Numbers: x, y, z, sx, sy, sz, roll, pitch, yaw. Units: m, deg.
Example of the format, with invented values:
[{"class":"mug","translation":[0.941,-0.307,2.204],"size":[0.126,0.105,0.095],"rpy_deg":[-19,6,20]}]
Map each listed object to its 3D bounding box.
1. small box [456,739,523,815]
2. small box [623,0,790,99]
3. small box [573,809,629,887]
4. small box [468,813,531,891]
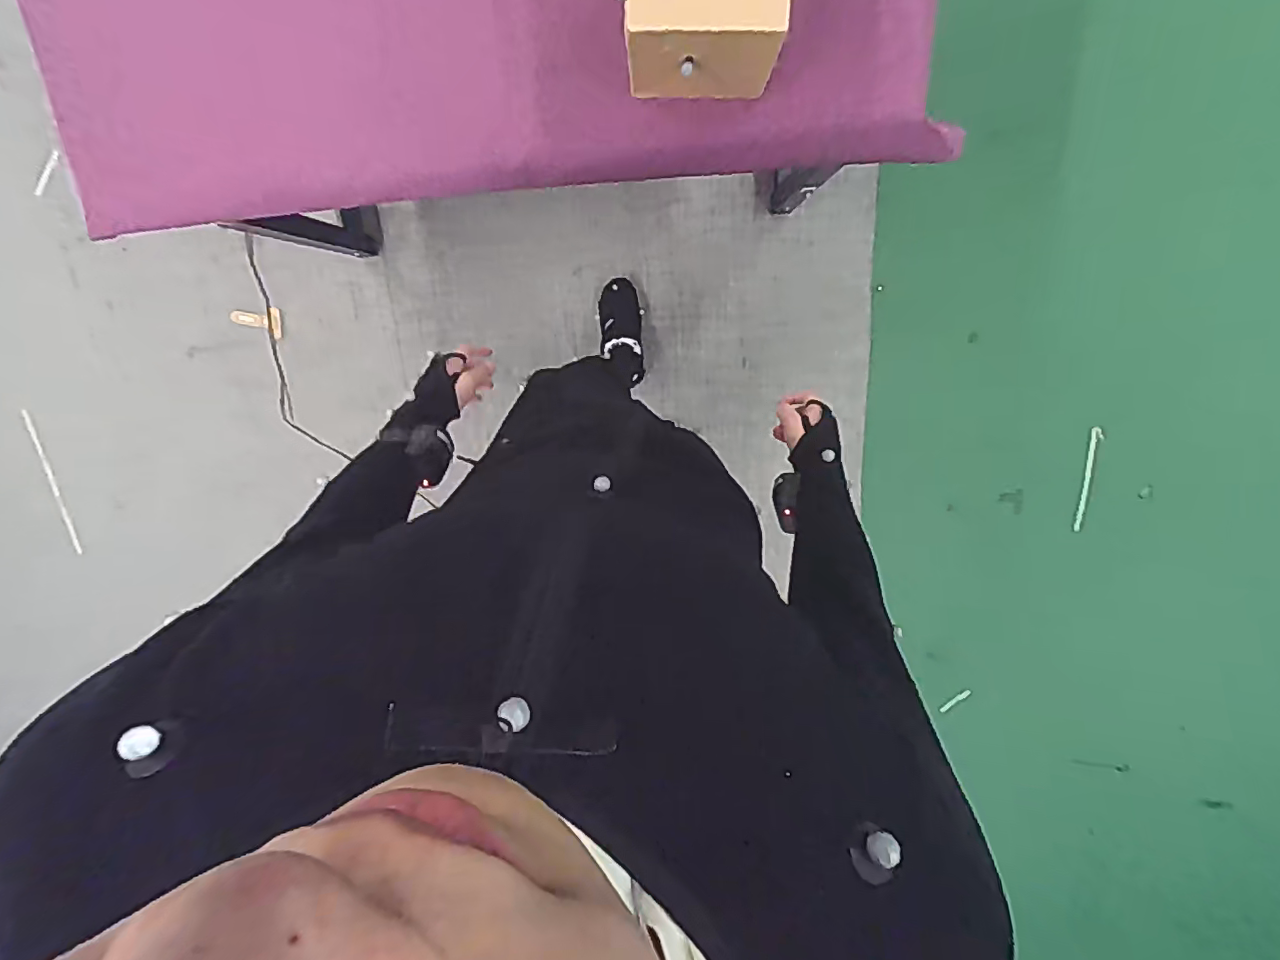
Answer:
[{"class":"small box","translation":[-0.504,1.007,1.844],"size":[0.179,0.176,0.168],"rpy_deg":[-4,106,3]},{"class":"small box","translation":[0.075,-0.570,0.627],"size":[0.179,0.176,0.168],"rpy_deg":[2,105,2]},{"class":"small box","translation":[-0.135,1.297,1.914],"size":[0.179,0.176,0.168],"rpy_deg":[-3,107,2]},{"class":"small box","translation":[-0.491,1.321,1.928],"size":[0.179,0.176,0.168],"rpy_deg":[-3,105,3]}]
